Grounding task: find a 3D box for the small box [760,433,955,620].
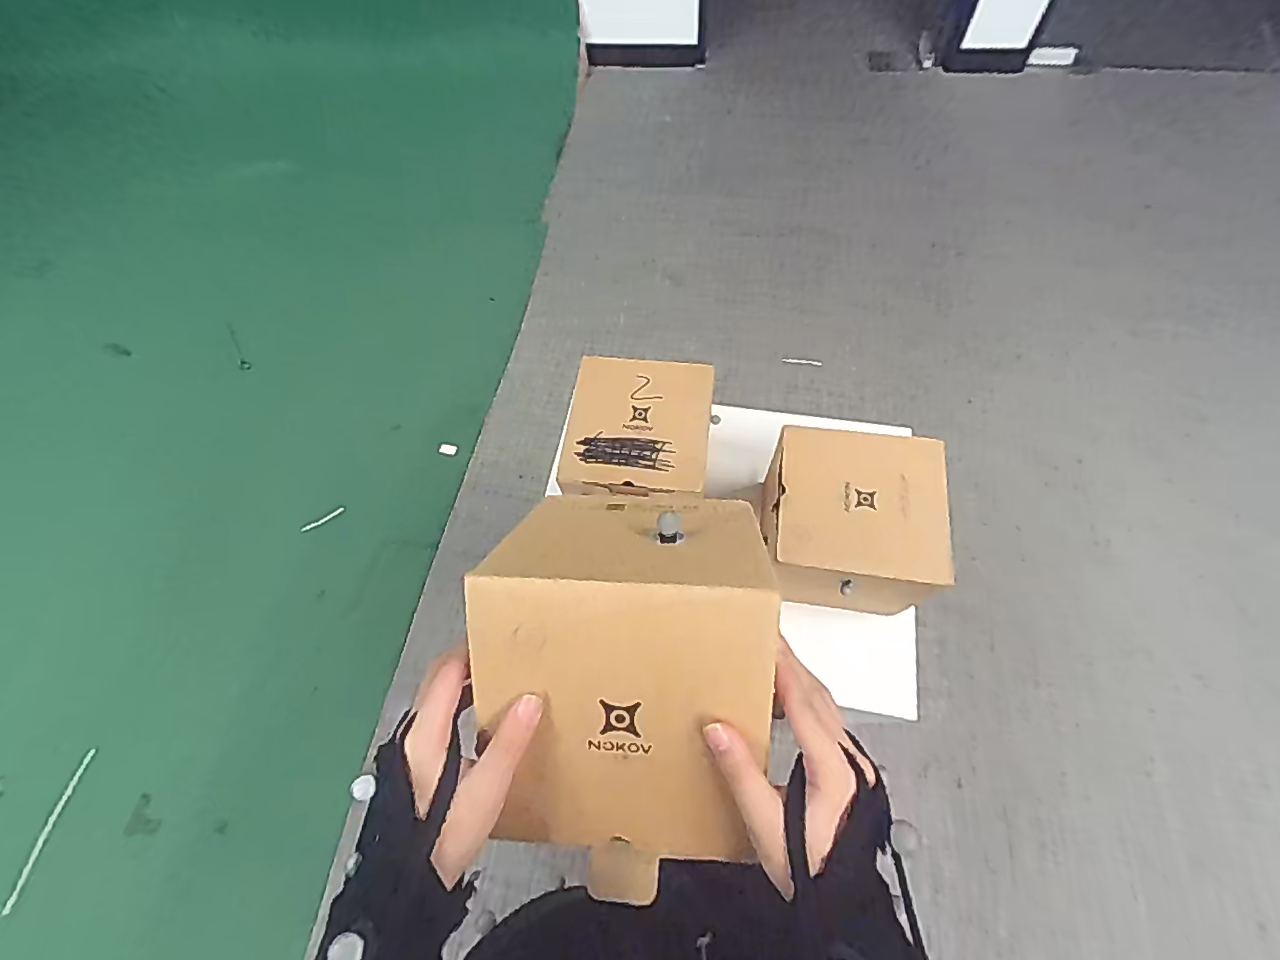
[{"bbox_3d":[0.242,0.062,0.643,0.179,0.176,0.168,7,66,7],"label":"small box"}]
